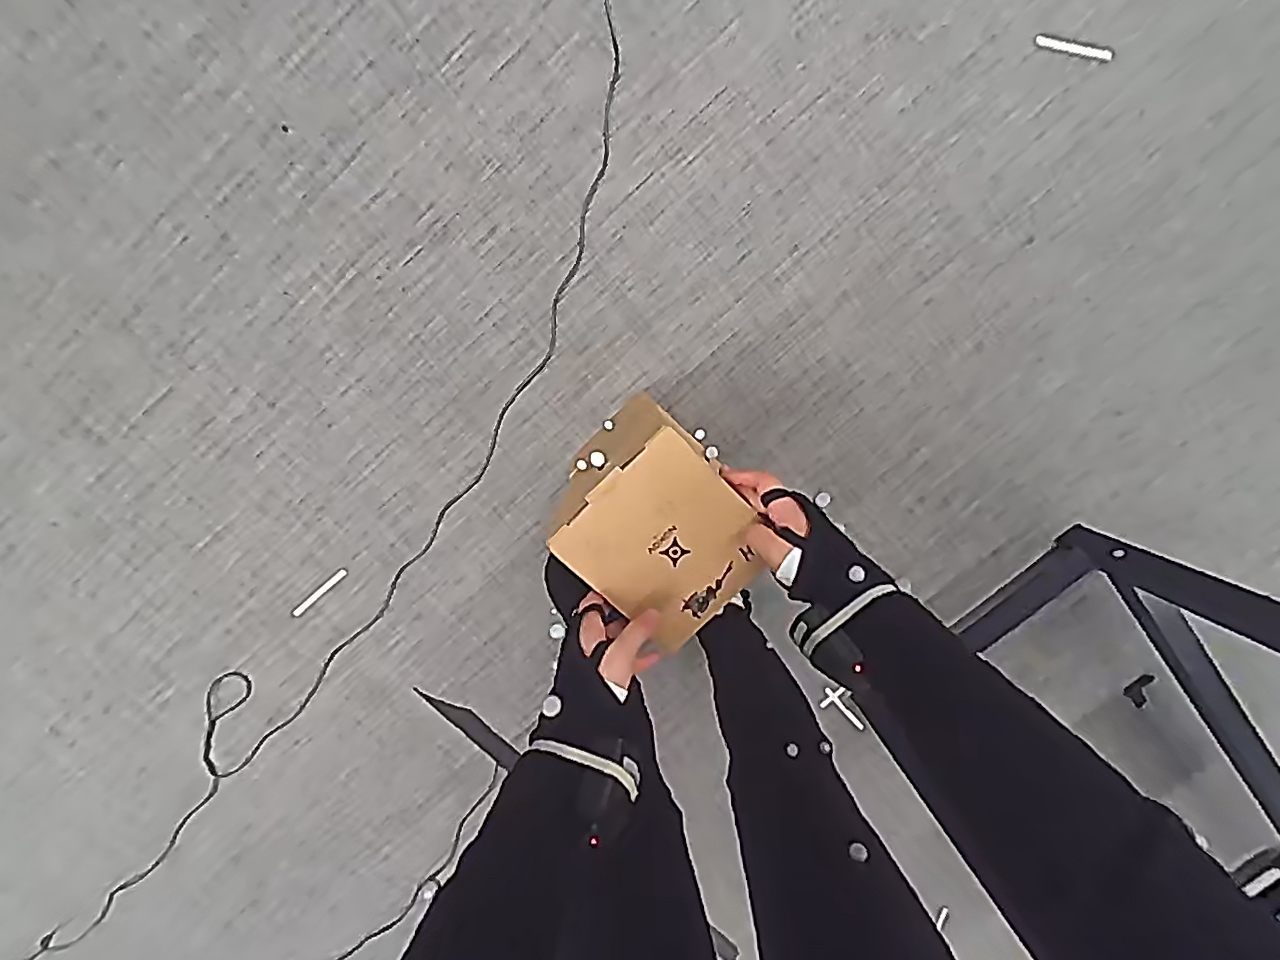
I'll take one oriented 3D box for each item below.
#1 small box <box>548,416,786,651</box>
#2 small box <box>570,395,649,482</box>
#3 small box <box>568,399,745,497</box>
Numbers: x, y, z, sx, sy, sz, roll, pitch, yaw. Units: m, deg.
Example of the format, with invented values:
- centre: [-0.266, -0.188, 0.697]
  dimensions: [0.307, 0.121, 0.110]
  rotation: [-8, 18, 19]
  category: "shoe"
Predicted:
- centre: [0.022, 0.043, 0.599]
  dimensions: [0.168, 0.176, 0.179]
  rotation: [-45, 102, 7]
  category: "small box"
- centre: [0.000, -0.026, 0.917]
  dimensions: [0.179, 0.176, 0.168]
  rotation: [-44, 102, 8]
  category: "small box"
- centre: [0.014, 0.007, 0.759]
  dimensions: [0.168, 0.176, 0.179]
  rotation: [41, 96, -13]
  category: "small box"
